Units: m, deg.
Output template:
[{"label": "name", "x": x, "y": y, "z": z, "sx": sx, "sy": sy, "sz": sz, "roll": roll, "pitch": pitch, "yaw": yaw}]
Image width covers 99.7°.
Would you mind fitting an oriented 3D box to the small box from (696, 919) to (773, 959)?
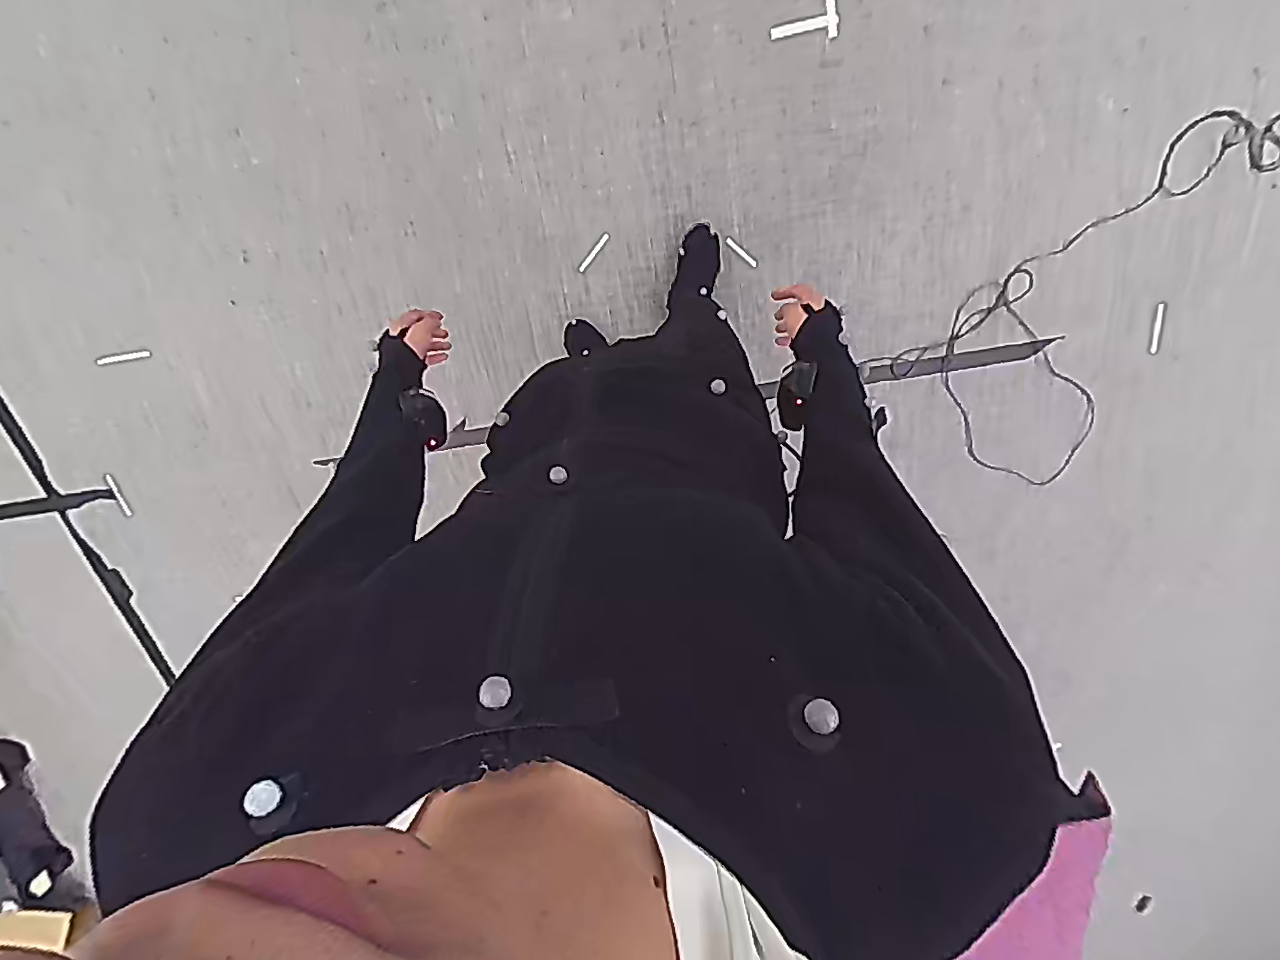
[{"label": "small box", "x": 0.228, "y": 1.162, "z": 1.249, "sx": 0.179, "sy": 0.176, "sz": 0.168, "roll": -12, "pitch": 111, "yaw": 4}]
